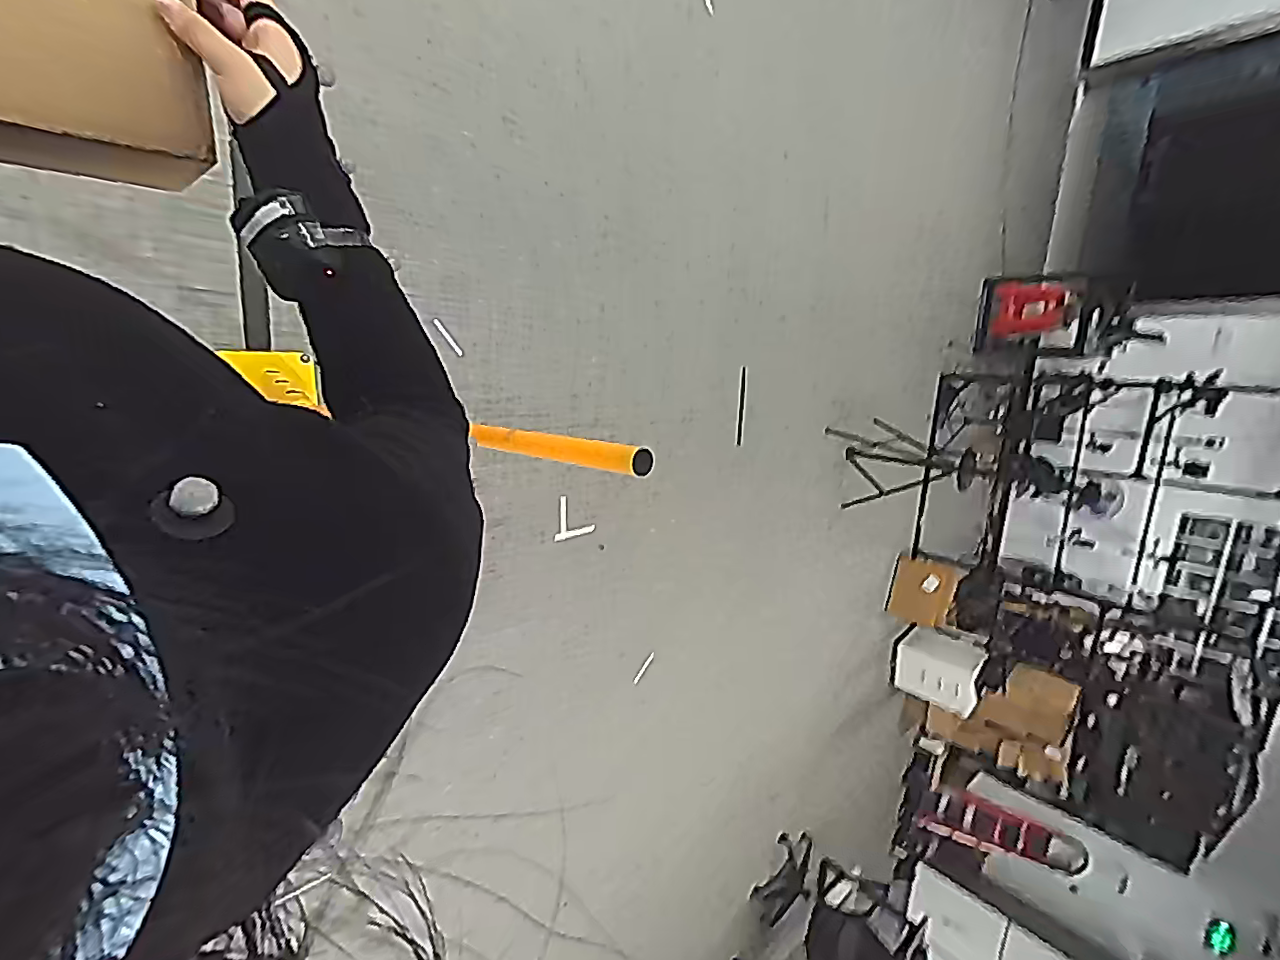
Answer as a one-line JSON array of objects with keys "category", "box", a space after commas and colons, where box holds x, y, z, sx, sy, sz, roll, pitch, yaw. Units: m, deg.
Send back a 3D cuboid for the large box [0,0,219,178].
[{"category": "large box", "box": [-0.552, -0.410, 0.342, 0.408, 0.320, 0.320, -10, 113, -41]}]
